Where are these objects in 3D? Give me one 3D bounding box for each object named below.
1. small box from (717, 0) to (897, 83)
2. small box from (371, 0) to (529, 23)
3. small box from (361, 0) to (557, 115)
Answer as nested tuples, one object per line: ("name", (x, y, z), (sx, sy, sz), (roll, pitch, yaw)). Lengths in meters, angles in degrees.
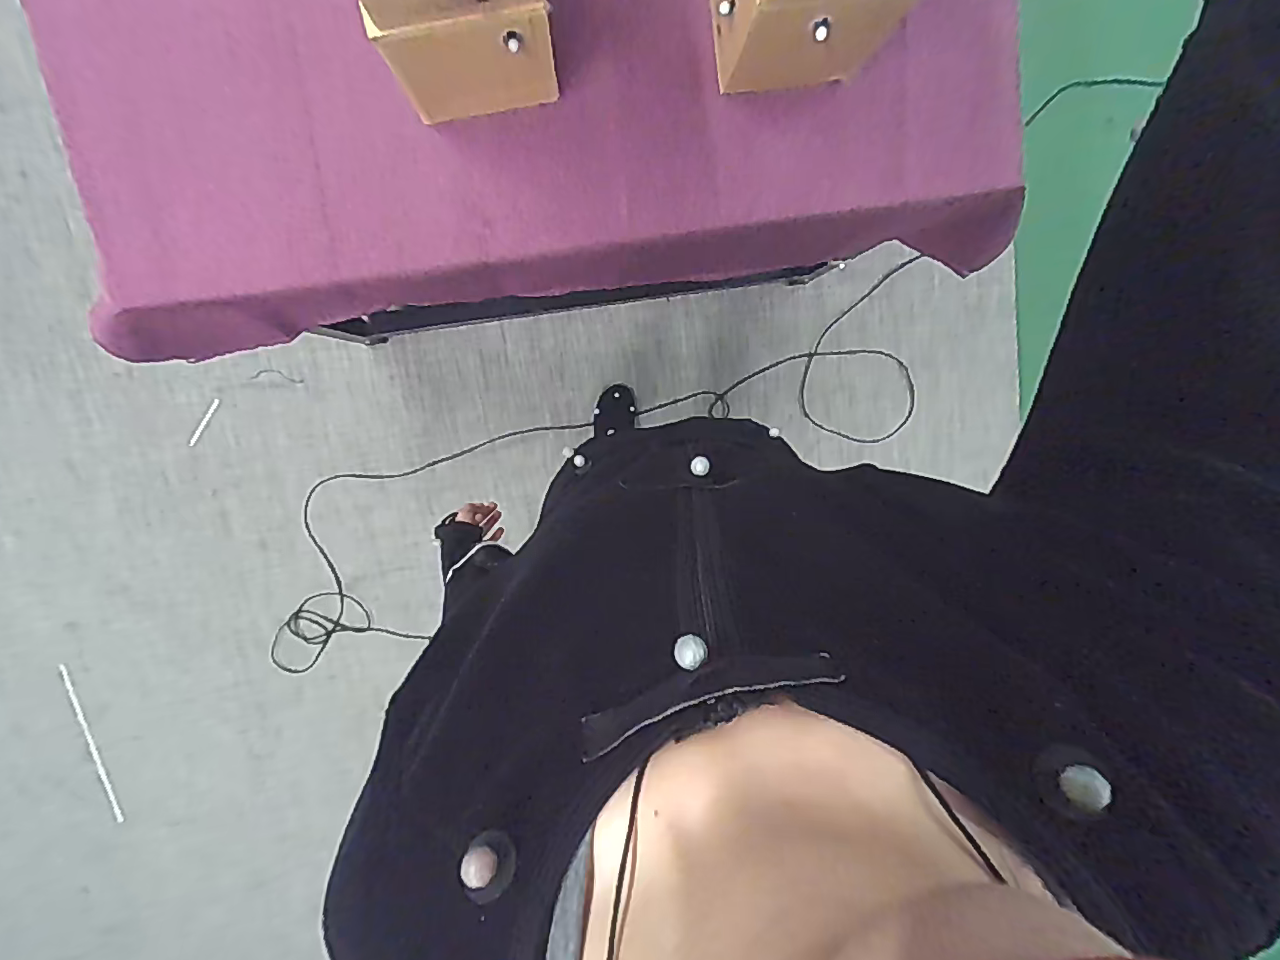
("small box", (0.184, -0.582, 0.607), (0.179, 0.176, 0.168), (-9, 100, -4))
("small box", (-0.180, -0.518, 0.422), (0.168, 0.176, 0.179), (-13, 99, -2))
("small box", (-0.197, -0.533, 0.586), (0.179, 0.176, 0.168), (-13, 100, -3))
